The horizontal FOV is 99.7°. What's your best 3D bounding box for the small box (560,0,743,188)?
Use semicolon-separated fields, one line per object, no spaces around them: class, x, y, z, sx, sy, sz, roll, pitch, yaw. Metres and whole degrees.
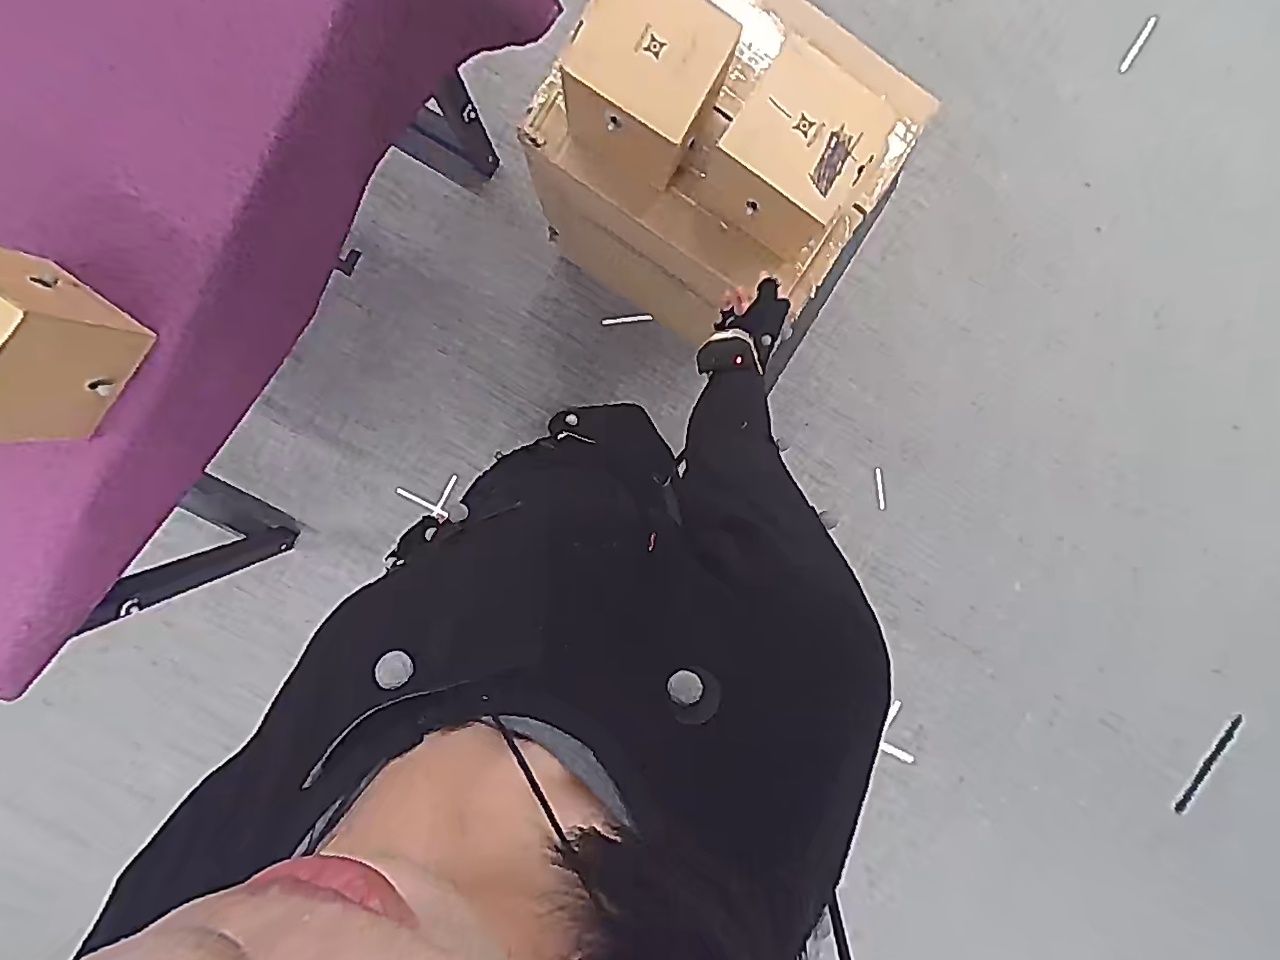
small box;0.010;-0.544;0.745;0.179;0.176;0.168;30;95;-7

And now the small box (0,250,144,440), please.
small box;-0.757;-0.164;0.640;0.168;0.176;0.179;36;92;-5

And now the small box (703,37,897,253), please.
small box;0.210;-0.448;0.764;0.179;0.176;0.168;34;94;-4
